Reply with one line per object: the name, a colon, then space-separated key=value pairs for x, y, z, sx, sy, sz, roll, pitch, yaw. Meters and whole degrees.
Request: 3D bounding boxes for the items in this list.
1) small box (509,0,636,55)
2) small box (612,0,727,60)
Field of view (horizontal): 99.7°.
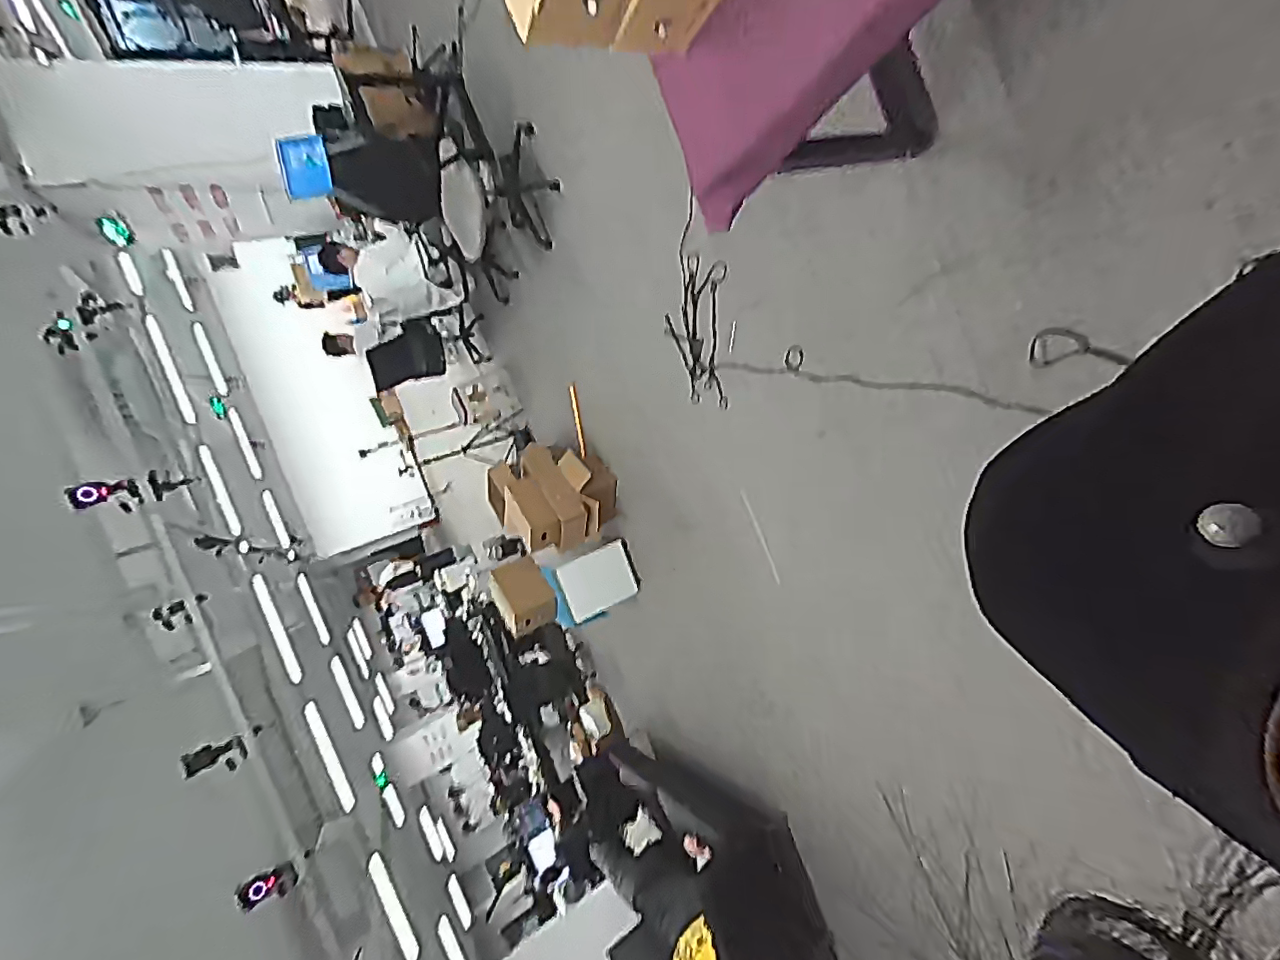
small box: x=-0.106 y=-0.810 z=0.838 sx=0.168 sy=0.176 sz=0.179 roll=-24 pitch=89 yaw=63
small box: x=0.034 y=-0.856 z=0.911 sx=0.168 sy=0.176 sz=0.179 roll=-12 pitch=98 yaw=63
